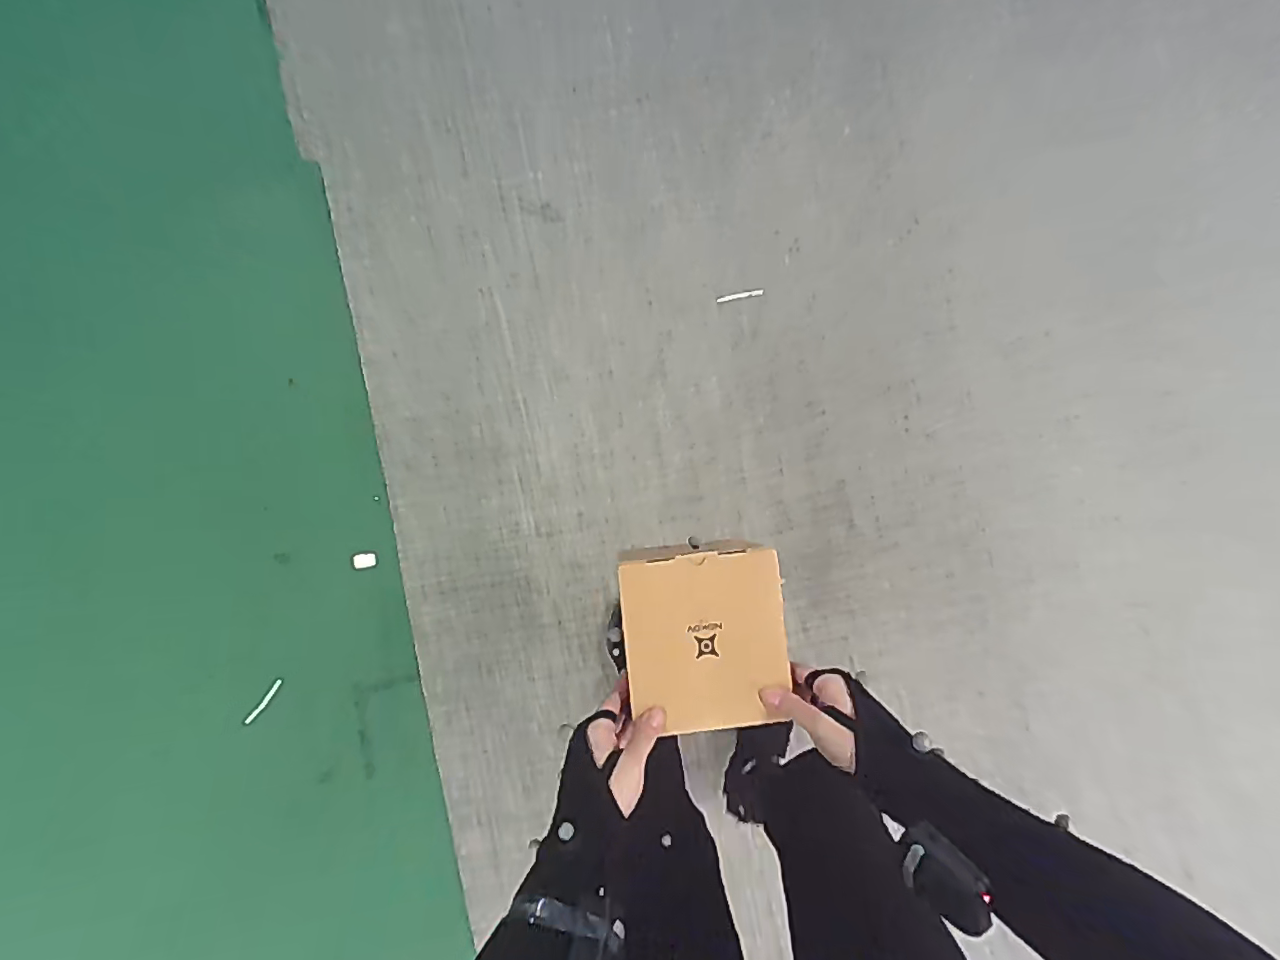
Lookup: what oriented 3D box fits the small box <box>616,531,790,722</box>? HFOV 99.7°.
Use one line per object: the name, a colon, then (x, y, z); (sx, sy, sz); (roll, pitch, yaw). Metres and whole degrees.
small box: (0.063, 0.157, 0.633); (0.168, 0.176, 0.179); (-6, 86, -2)
